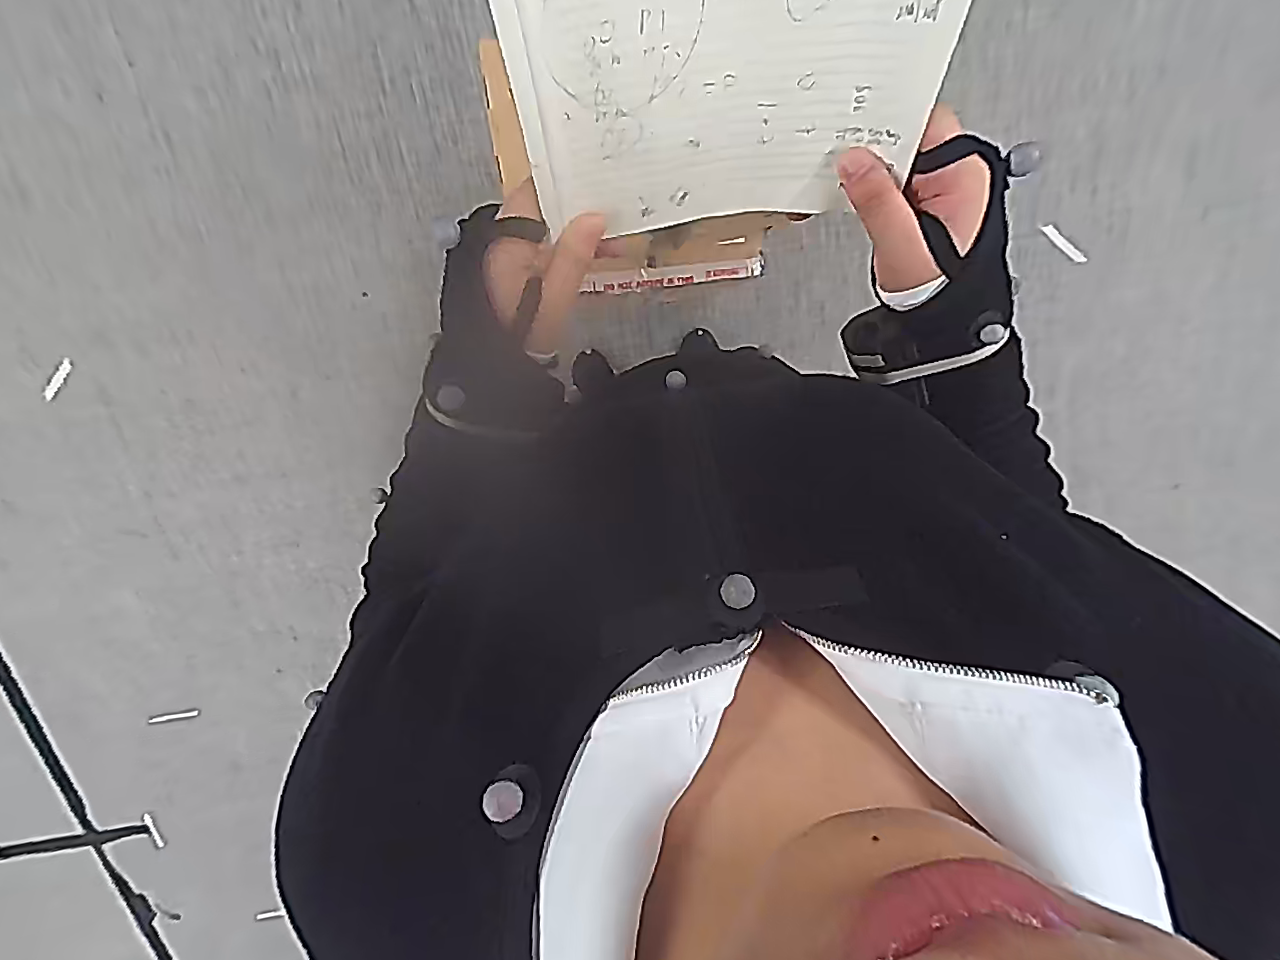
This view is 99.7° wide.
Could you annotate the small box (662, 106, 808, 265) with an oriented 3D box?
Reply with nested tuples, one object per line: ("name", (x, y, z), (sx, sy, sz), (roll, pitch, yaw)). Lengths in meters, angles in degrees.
("small box", (0.138, -0.438, 0.831), (0.179, 0.176, 0.168), (-11, 106, 0))

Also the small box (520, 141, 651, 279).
("small box", (-0.076, -0.403, 0.831), (0.179, 0.176, 0.168), (-2, 106, 0))
